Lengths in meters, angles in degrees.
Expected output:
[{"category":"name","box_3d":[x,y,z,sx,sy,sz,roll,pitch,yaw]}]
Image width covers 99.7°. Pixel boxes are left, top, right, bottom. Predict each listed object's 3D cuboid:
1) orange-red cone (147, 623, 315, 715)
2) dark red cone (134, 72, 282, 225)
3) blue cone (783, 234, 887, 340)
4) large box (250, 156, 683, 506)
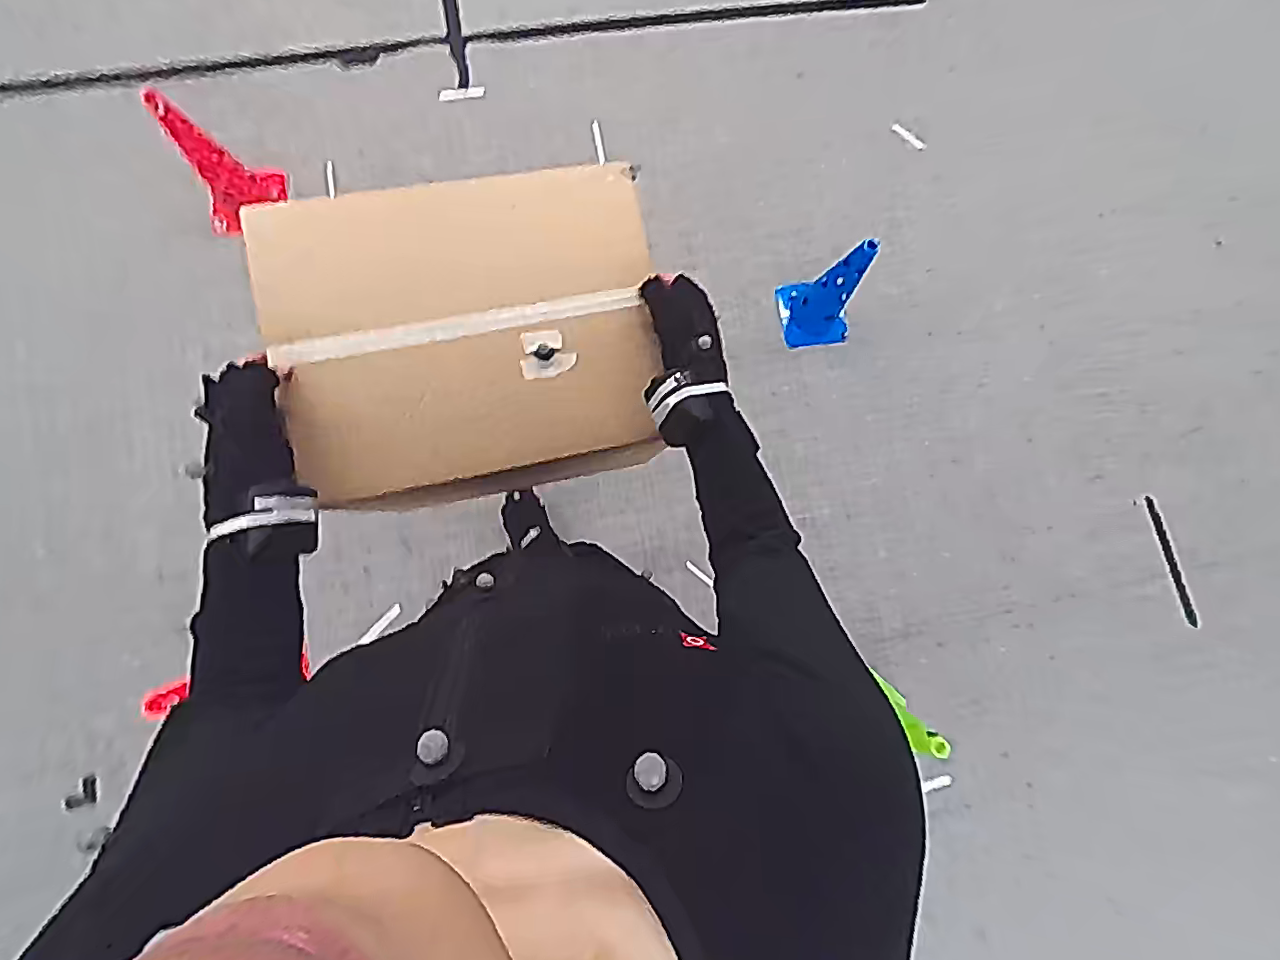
[{"category":"orange-red cone","box_3d":[-0.914,0.447,1.185,0.198,0.360,0.199,-13,83,-5]},{"category":"dark red cone","box_3d":[-1.093,-0.830,1.356,0.201,0.394,0.202,-4,81,-6]},{"category":"blue cone","box_3d":[0.548,-0.543,1.475,0.192,0.380,0.193,-7,82,-7]},{"category":"large box","box_3d":[-0.197,-0.162,0.719,0.408,0.320,0.320,-12,88,-9]}]
